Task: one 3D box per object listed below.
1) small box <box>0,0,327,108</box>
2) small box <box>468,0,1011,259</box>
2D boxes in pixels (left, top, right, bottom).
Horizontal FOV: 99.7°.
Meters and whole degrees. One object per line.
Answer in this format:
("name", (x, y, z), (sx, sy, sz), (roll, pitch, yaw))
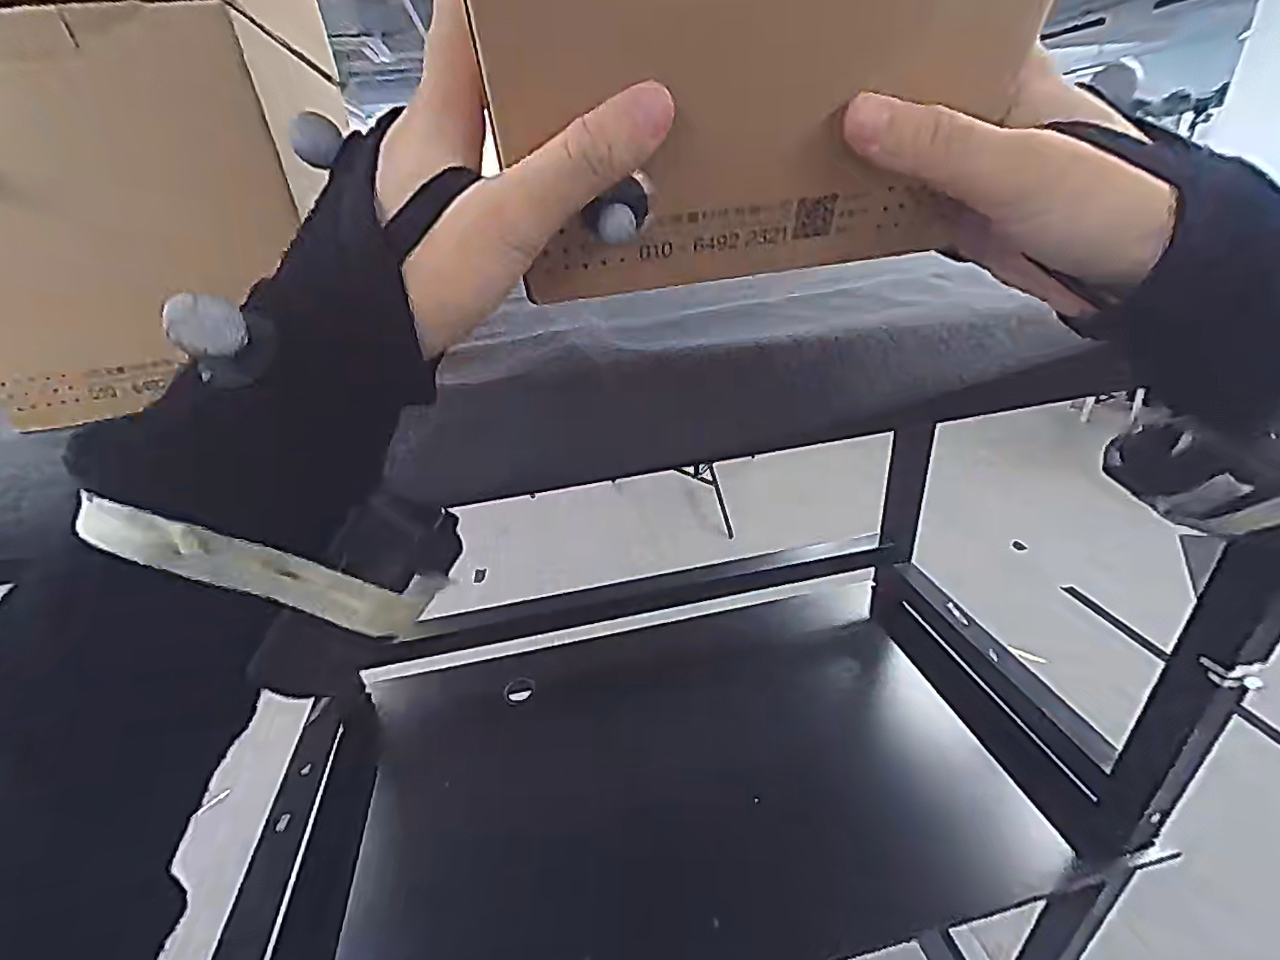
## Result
("small box", (-0.274, -0.291, 0.246), (0.168, 0.176, 0.179), (-10, 27, -8))
("small box", (0.021, -0.196, 0.198), (0.168, 0.176, 0.179), (-10, 49, -6))
